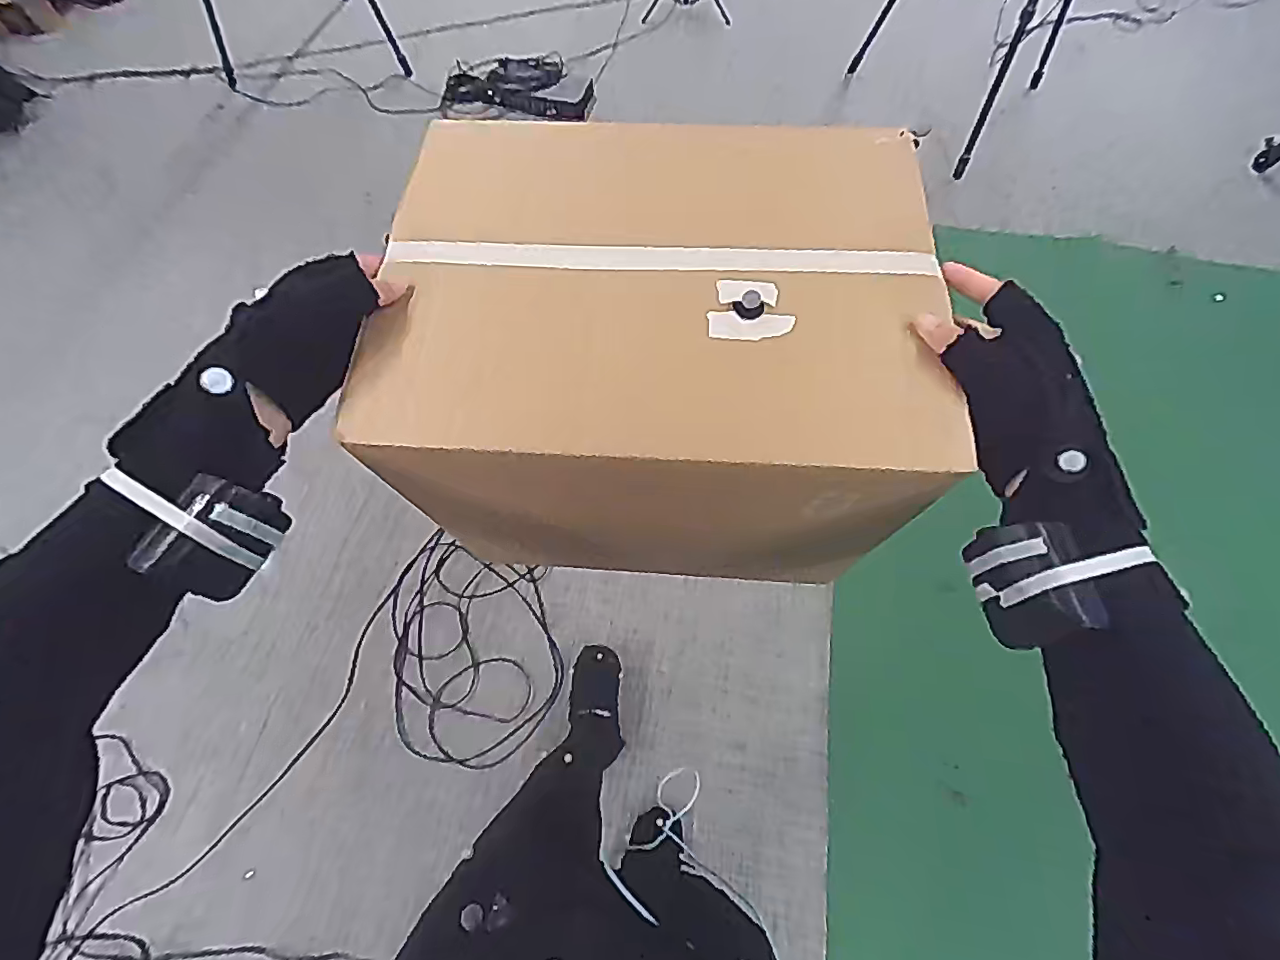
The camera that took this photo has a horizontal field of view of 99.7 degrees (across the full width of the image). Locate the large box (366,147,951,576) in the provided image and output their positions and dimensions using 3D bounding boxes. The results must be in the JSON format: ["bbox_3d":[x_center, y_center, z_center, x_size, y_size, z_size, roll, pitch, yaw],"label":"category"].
[{"bbox_3d":[0.018,-0.095,0.557,0.408,0.320,0.320,3,67,3],"label":"large box"}]
